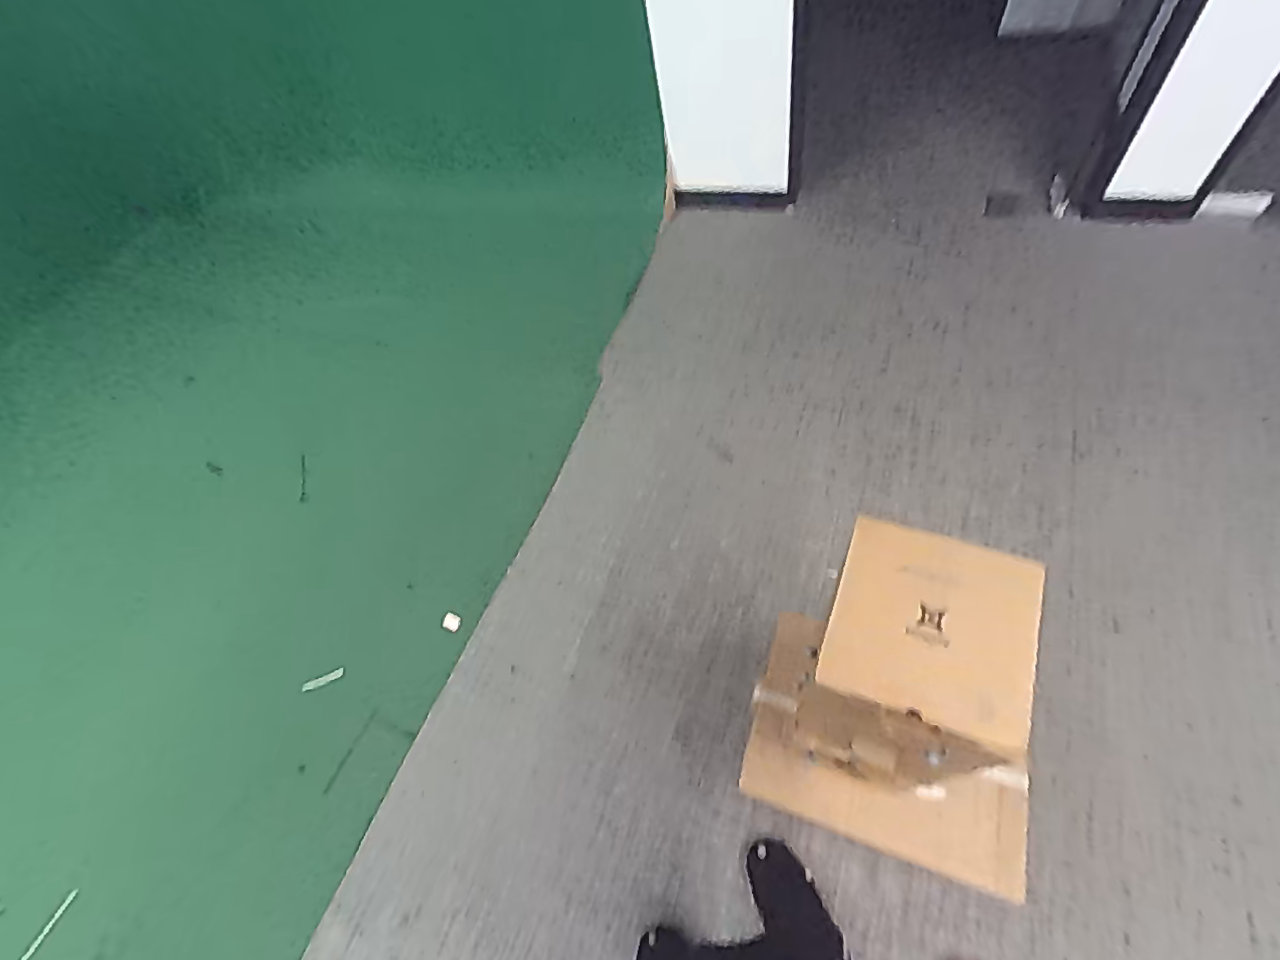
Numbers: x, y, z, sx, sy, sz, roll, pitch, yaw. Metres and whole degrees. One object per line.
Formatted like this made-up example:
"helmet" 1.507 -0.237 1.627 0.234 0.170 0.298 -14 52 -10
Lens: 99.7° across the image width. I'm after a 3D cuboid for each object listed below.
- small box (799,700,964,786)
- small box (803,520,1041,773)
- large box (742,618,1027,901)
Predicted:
"small box" 0.306 0.257 0.680 0.168 0.176 0.179 17 63 22
"small box" 0.269 0.172 0.546 0.168 0.176 0.179 16 62 20
"large box" 0.418 0.494 0.994 0.408 0.320 0.320 12 63 19
